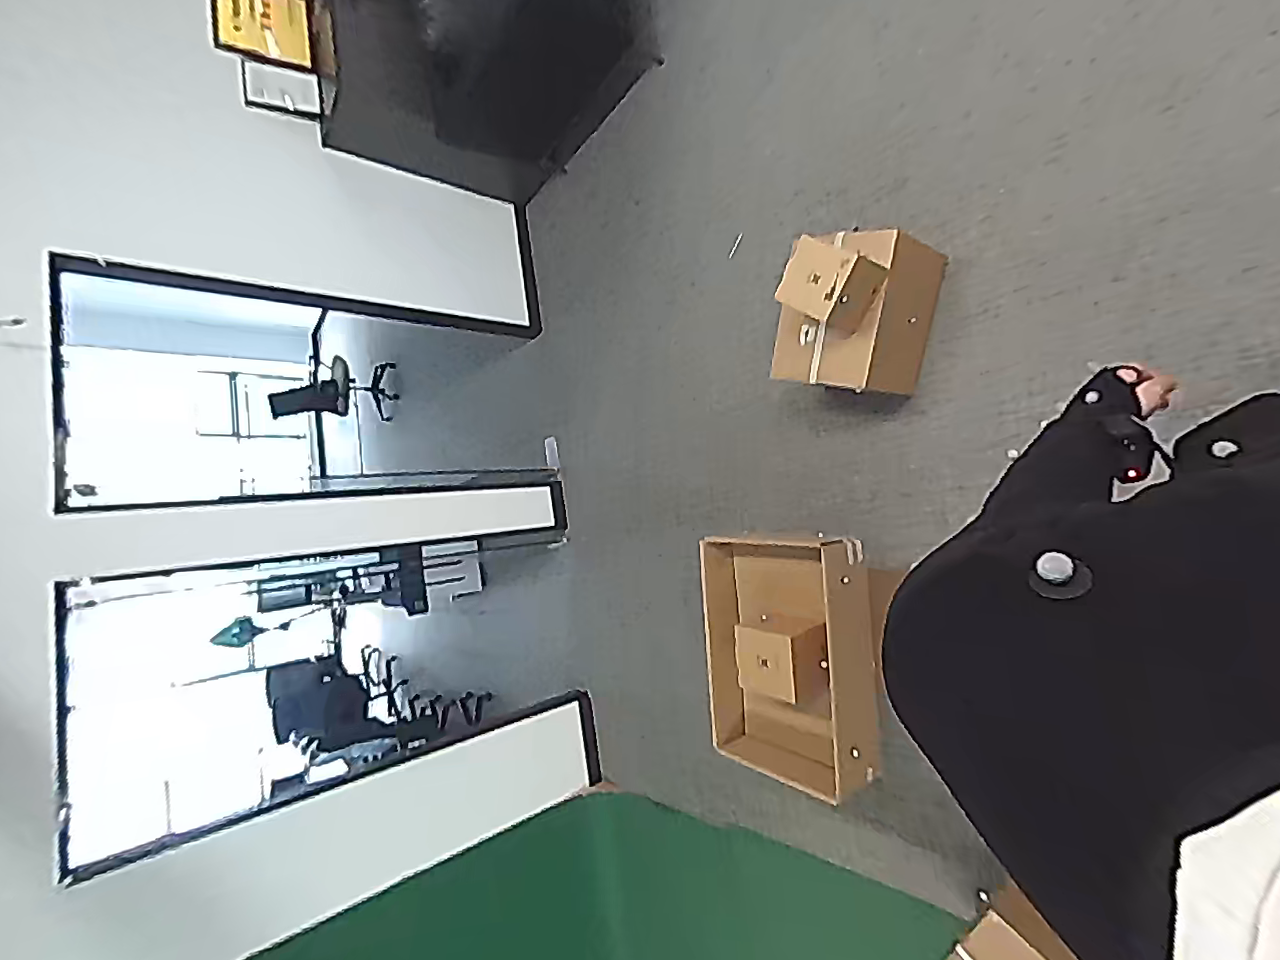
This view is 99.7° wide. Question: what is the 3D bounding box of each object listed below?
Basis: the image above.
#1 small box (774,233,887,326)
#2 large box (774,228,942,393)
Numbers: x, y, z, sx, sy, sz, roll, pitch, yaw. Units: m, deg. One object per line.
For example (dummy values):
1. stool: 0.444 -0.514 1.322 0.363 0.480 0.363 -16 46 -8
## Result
1. small box: 0.484 -0.505 1.378 0.179 0.176 0.168 44 124 37
2. large box: 0.633 -0.476 1.584 0.320 0.320 0.408 20 109 48
